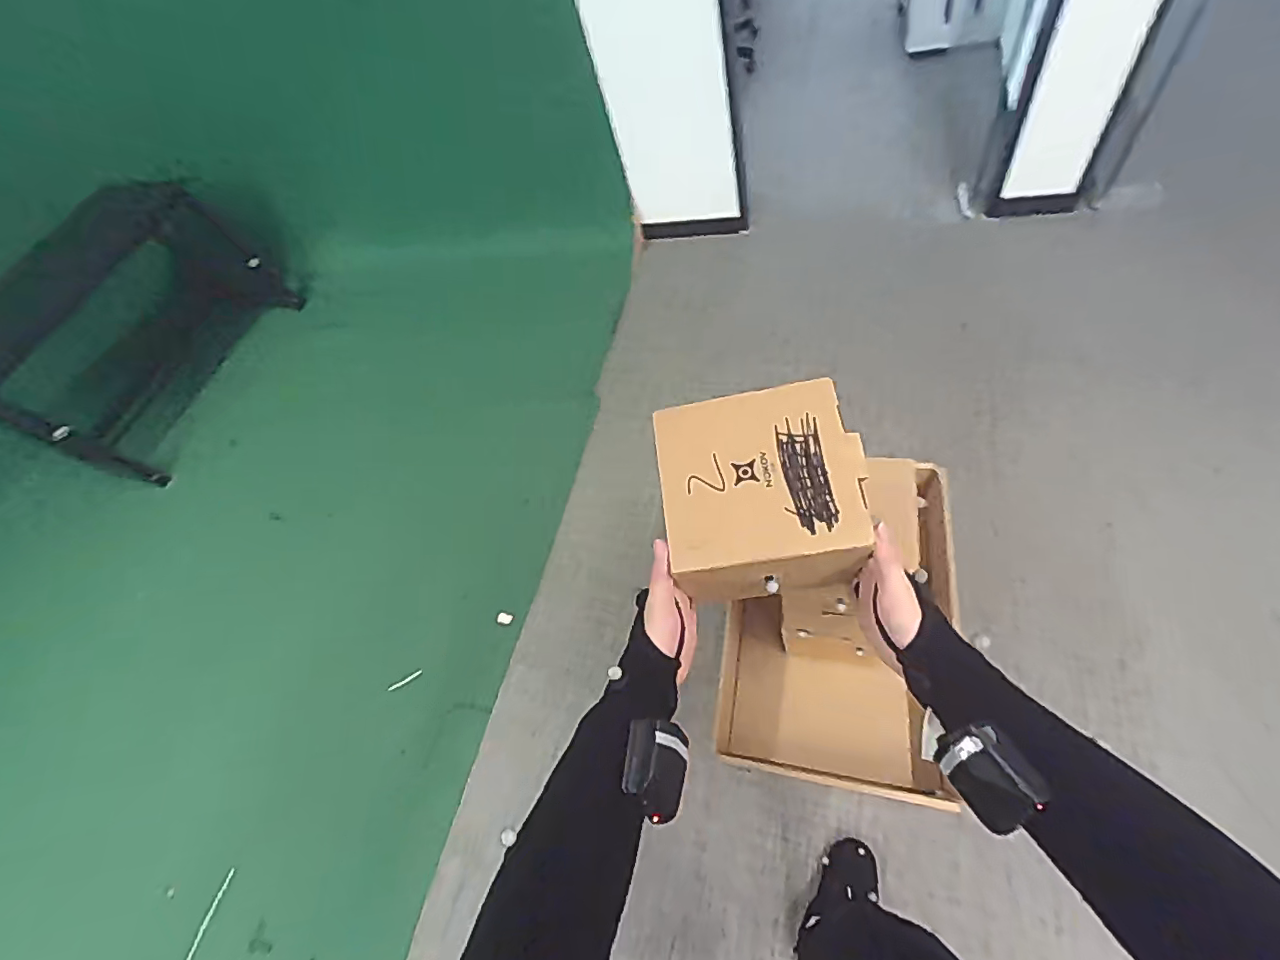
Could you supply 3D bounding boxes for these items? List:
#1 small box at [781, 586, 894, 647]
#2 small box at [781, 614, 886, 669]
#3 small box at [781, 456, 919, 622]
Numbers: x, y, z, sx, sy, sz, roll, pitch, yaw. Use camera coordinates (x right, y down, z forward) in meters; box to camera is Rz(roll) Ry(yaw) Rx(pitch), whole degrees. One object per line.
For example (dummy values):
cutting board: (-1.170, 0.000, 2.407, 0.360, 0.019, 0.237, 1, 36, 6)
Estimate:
small box: (0.336, 0.169, 0.916, 0.168, 0.176, 0.179, 6, 60, 19)
small box: (0.373, 0.257, 1.049, 0.179, 0.176, 0.168, 4, 60, 18)
small box: (0.296, 0.086, 0.779, 0.168, 0.176, 0.179, 4, 60, 19)
